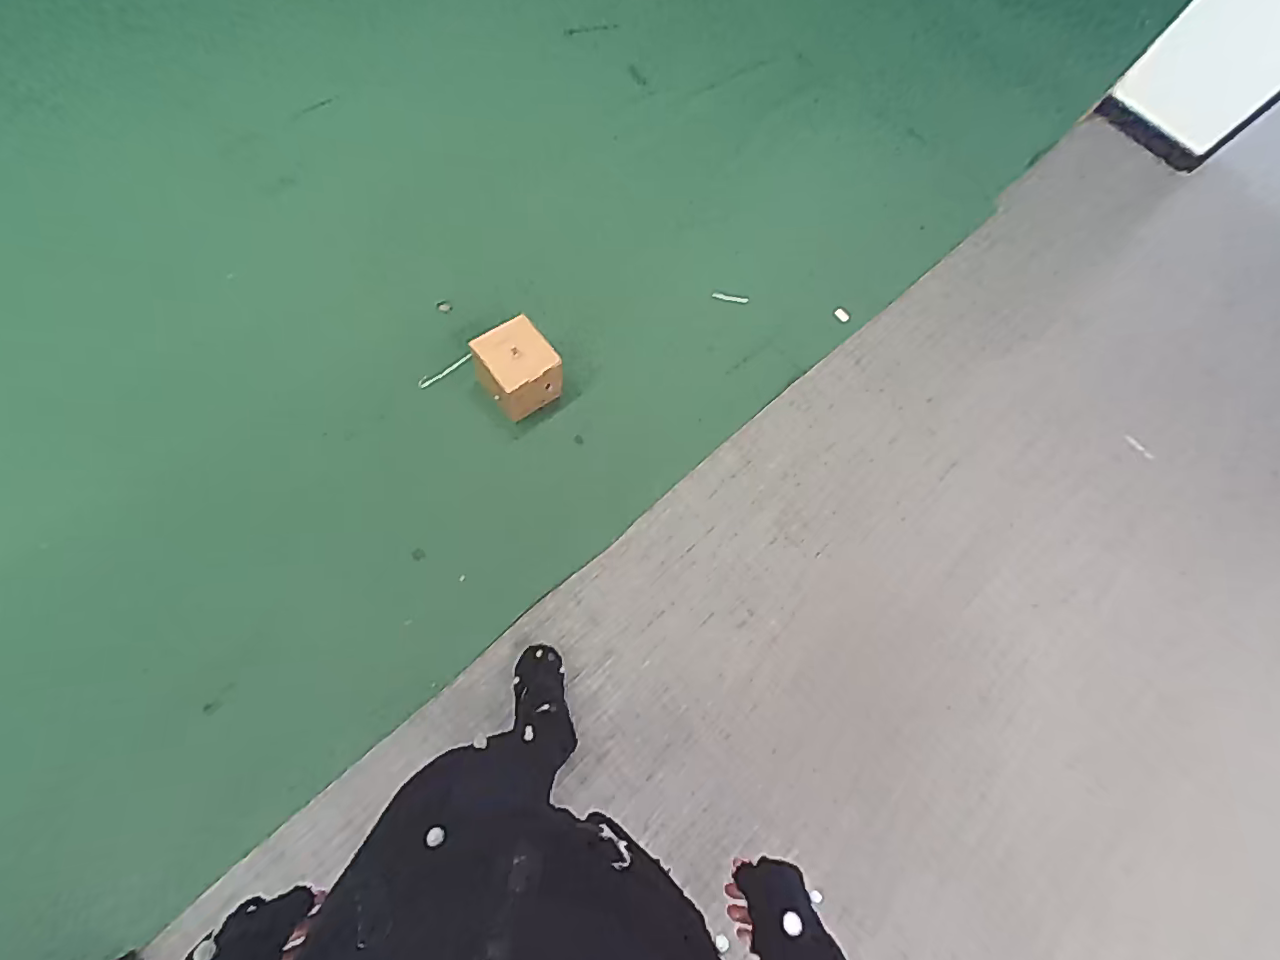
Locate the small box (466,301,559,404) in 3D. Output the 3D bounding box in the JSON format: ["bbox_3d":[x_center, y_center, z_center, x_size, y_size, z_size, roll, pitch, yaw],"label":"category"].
[{"bbox_3d":[-0.325,-0.319,1.401,0.168,0.176,0.179,-33,78,-21],"label":"small box"}]
